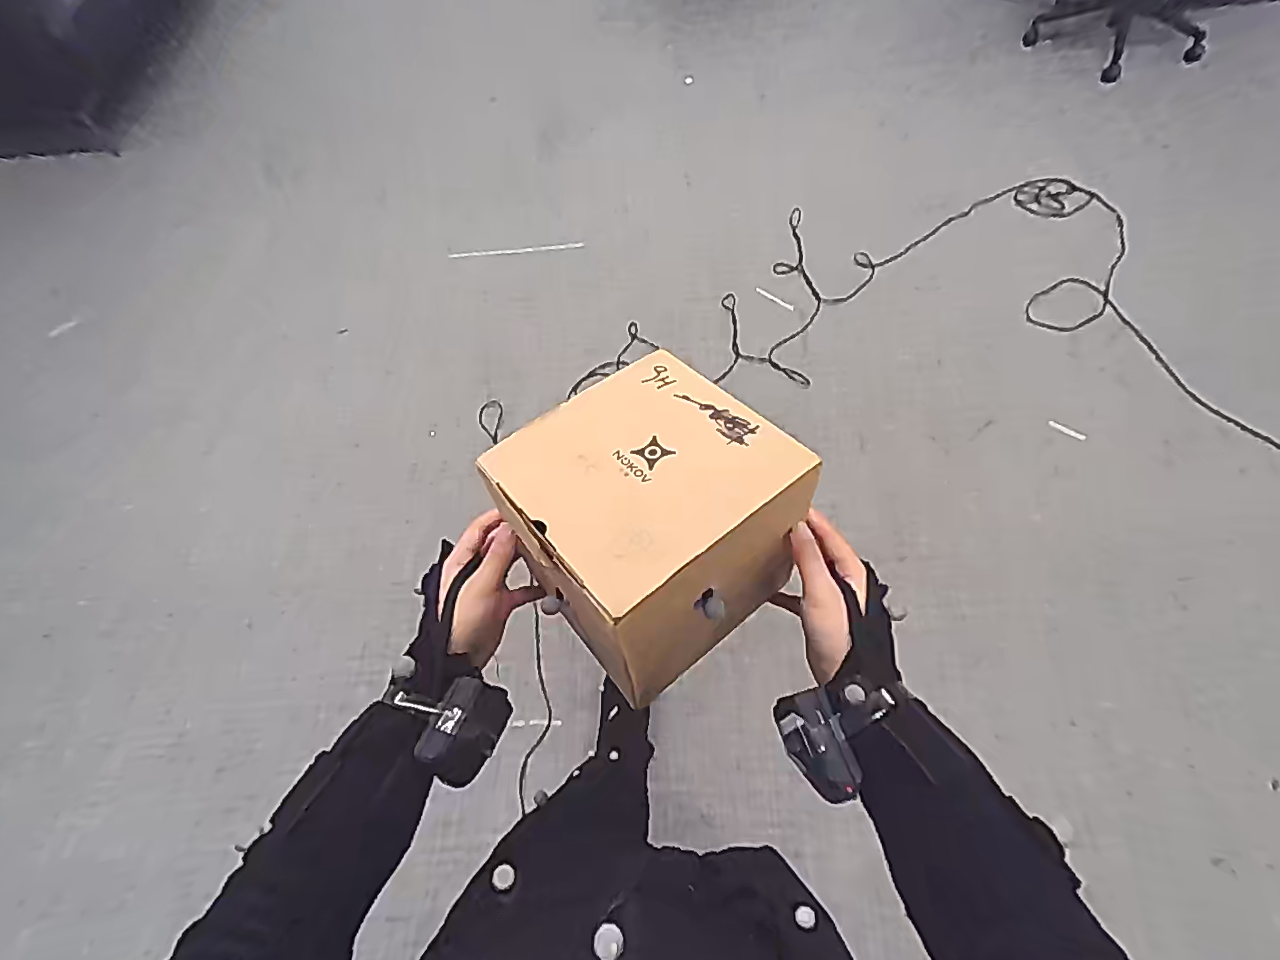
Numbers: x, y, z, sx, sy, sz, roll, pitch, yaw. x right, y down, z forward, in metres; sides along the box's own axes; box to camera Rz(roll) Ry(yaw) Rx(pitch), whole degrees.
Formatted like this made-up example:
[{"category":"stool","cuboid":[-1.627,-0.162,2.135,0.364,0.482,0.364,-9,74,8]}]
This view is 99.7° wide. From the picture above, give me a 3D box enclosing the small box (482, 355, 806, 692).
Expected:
[{"category":"small box","cuboid":[0.008,0.038,0.440,0.179,0.176,0.168,-35,56,-20]}]
